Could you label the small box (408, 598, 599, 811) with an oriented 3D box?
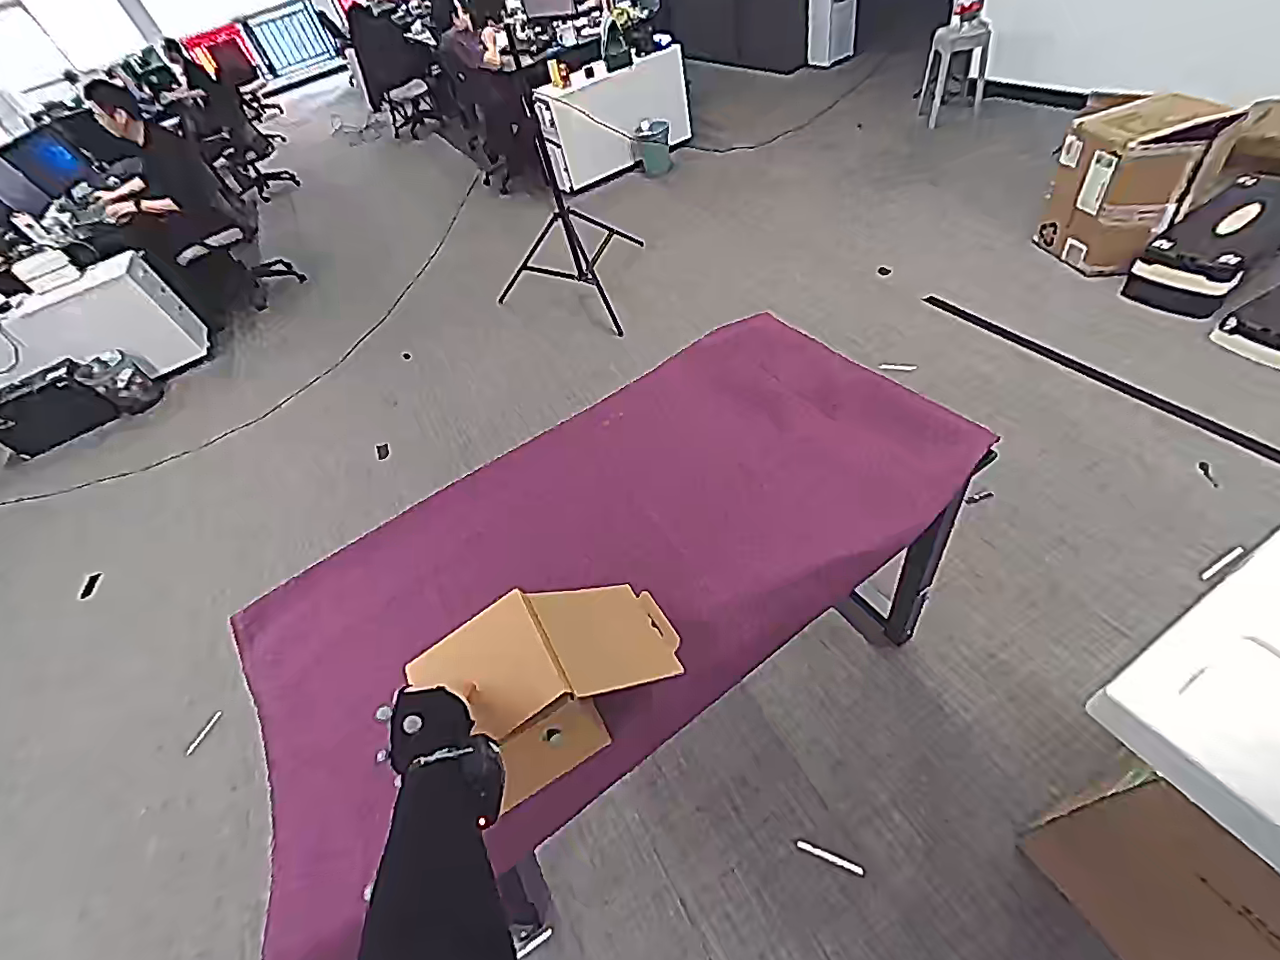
[{"bbox_3d":[-0.168,0.295,0.709,0.179,0.176,0.168,-30,48,-10],"label":"small box"}]
